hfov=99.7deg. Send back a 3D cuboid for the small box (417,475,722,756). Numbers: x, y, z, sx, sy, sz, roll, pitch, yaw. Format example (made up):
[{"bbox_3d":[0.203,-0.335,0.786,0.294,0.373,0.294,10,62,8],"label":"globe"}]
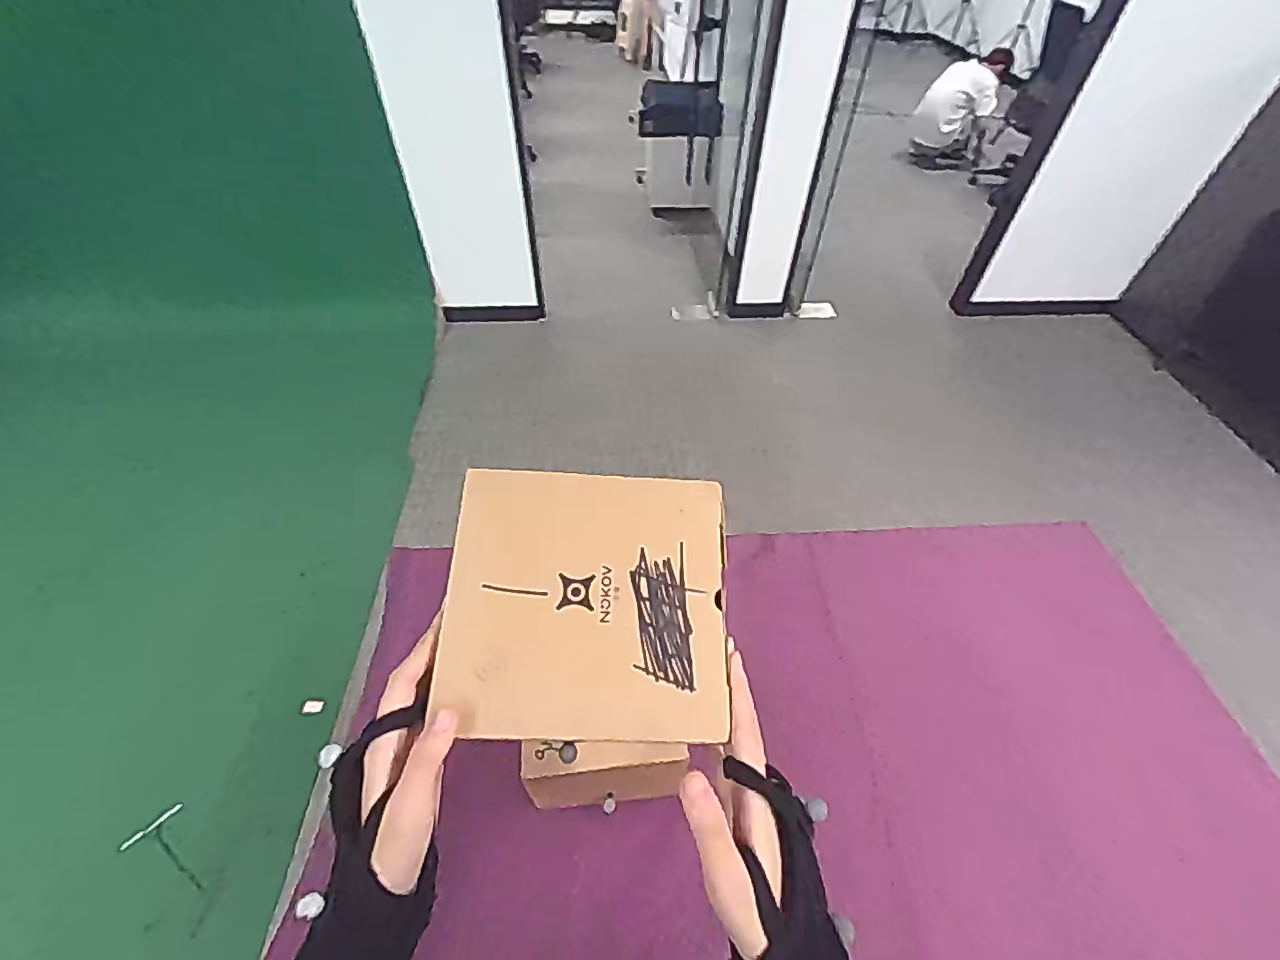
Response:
[{"bbox_3d":[-0.042,0.109,0.411,0.179,0.176,0.168,3,66,-3],"label":"small box"}]

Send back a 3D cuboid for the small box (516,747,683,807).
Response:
[{"bbox_3d":[-0.052,0.291,0.670,0.179,0.176,0.168,-3,49,-5],"label":"small box"}]
